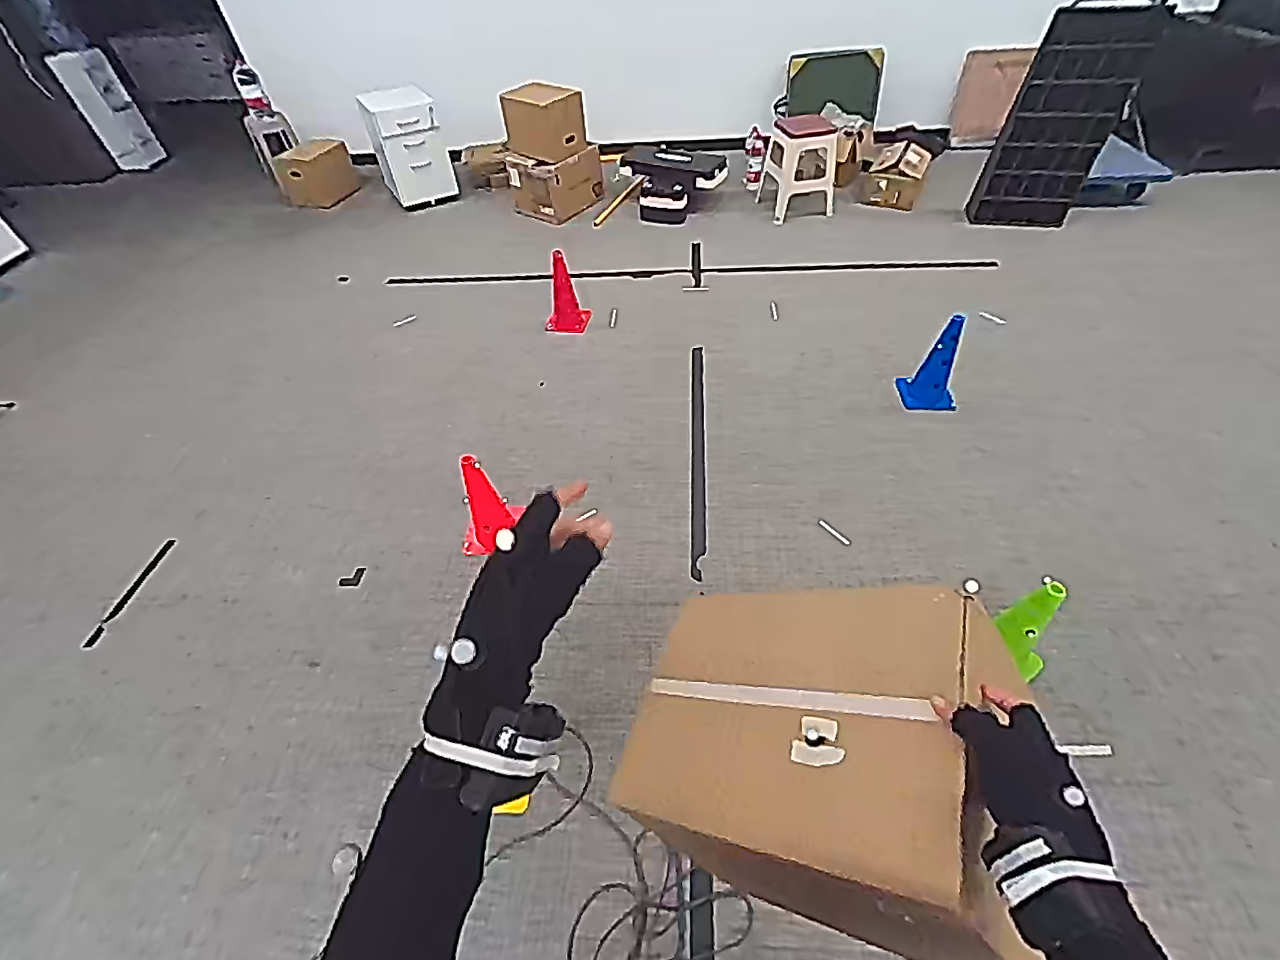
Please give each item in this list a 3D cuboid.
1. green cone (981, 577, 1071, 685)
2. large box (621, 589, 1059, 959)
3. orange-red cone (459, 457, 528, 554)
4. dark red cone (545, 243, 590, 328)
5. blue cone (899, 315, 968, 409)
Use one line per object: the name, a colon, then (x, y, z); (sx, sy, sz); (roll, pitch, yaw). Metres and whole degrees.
green cone: (0.957, 0.360, 1.351); (0.202, 0.368, 0.200); (-28, 53, -21)
large box: (0.258, 0.370, 0.709); (0.408, 0.320, 0.320); (-16, 35, 44)
orange-red cone: (-0.502, 0.061, 1.731); (0.198, 0.360, 0.199); (-2, 50, 3)
dark red cone: (-0.367, -0.924, 2.569); (0.201, 0.394, 0.202); (5, 49, 7)
blue cone: (1.168, -0.466, 2.097); (0.192, 0.380, 0.193); (3, 49, 6)
